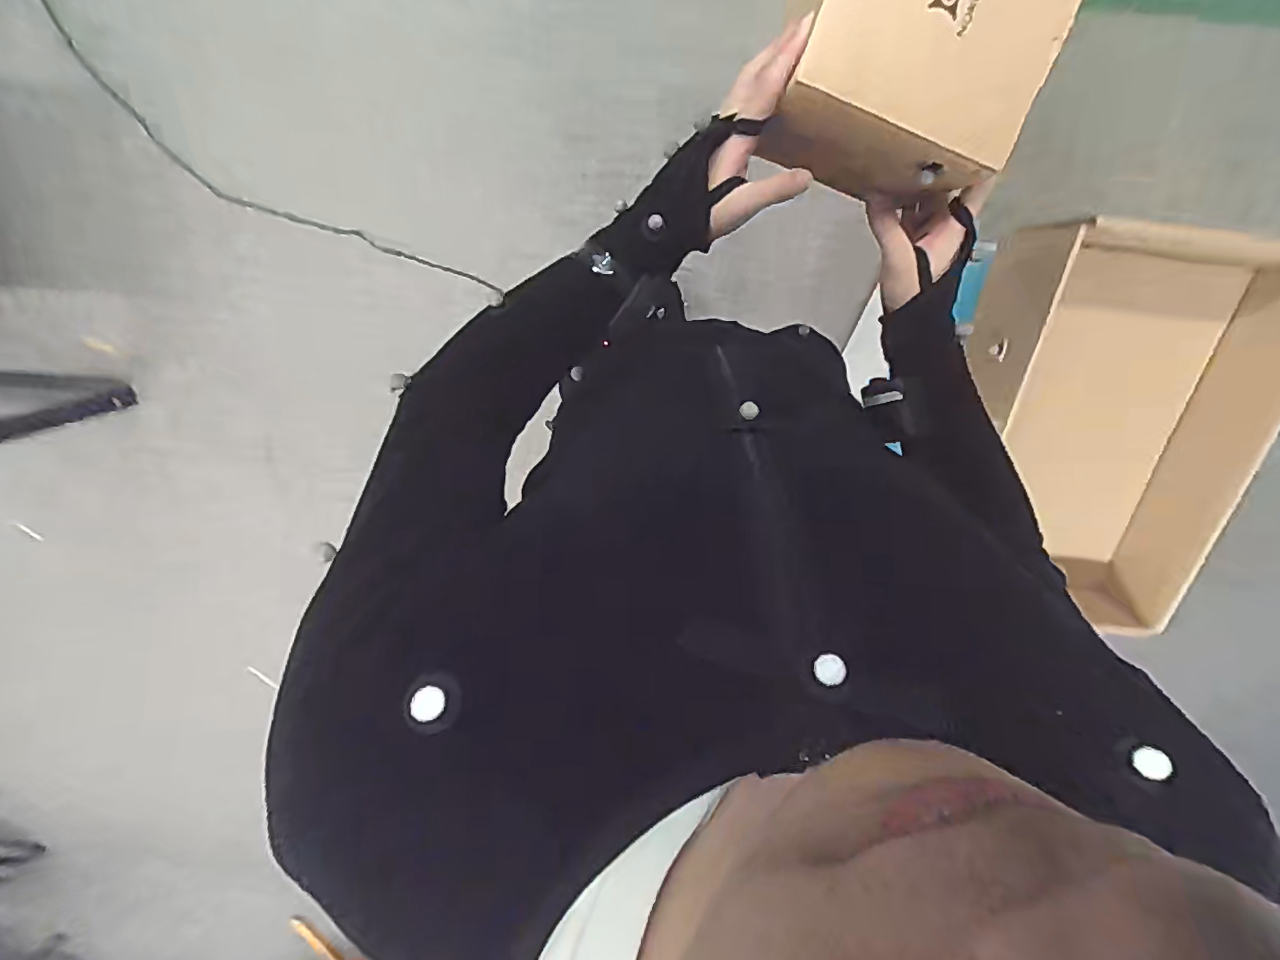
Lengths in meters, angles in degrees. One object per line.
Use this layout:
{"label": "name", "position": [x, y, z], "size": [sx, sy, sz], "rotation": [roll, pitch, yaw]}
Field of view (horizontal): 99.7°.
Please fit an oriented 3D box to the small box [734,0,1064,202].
{"label": "small box", "position": [0.197, -0.352, 0.446], "size": [0.179, 0.176, 0.168], "rotation": [15, 105, -11]}
